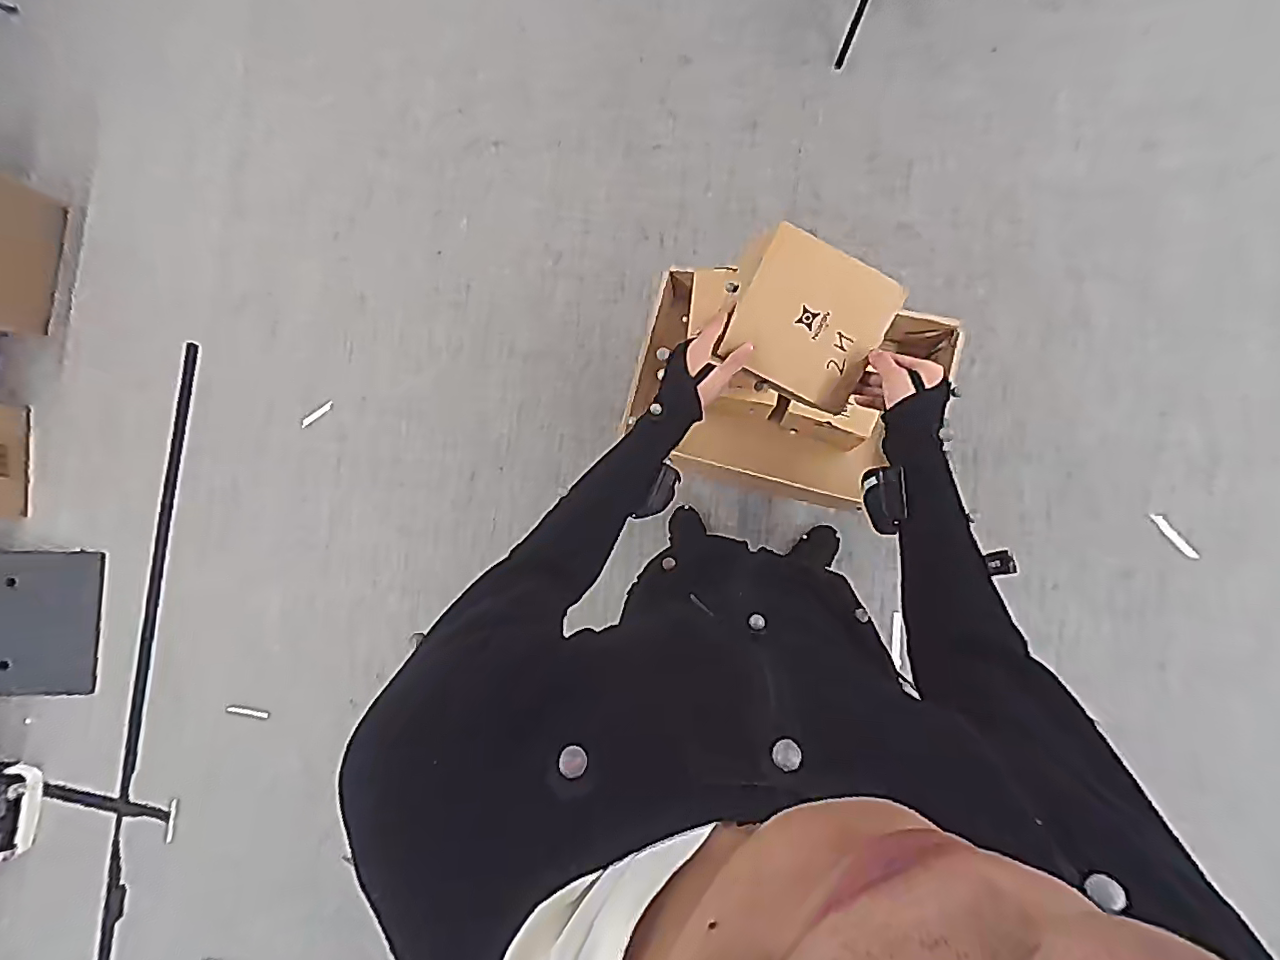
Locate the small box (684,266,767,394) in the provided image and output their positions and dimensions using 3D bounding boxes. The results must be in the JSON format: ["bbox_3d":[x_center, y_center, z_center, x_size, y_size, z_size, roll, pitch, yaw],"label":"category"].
[{"bbox_3d":[0.174,-0.272,1.007,0.168,0.176,0.179,6,86,7],"label":"small box"}]

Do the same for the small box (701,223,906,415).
[{"bbox_3d":[0.196,-0.203,0.711,0.179,0.176,0.168,25,103,-8],"label":"small box"}]
